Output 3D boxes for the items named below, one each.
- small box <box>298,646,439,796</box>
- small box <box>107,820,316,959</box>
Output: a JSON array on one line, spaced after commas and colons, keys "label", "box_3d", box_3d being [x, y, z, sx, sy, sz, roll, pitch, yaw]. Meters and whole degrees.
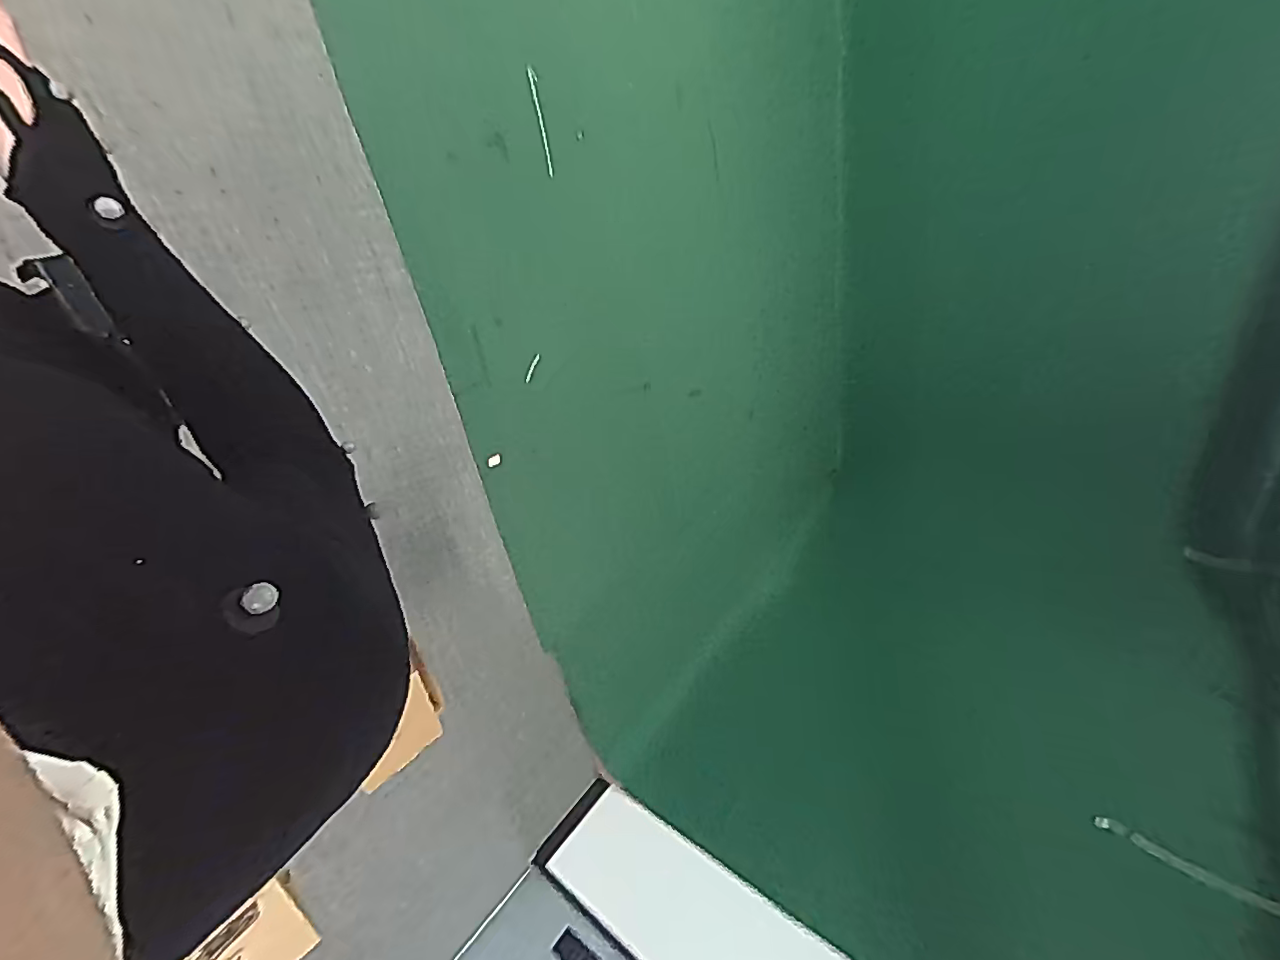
[{"label": "small box", "box_3d": [-0.533, 0.464, 1.067, 0.168, 0.176, 0.179, -33, 124, -42]}, {"label": "small box", "box_3d": [-0.605, 0.629, 0.767, 0.168, 0.176, 0.179, -32, 124, -39]}]
